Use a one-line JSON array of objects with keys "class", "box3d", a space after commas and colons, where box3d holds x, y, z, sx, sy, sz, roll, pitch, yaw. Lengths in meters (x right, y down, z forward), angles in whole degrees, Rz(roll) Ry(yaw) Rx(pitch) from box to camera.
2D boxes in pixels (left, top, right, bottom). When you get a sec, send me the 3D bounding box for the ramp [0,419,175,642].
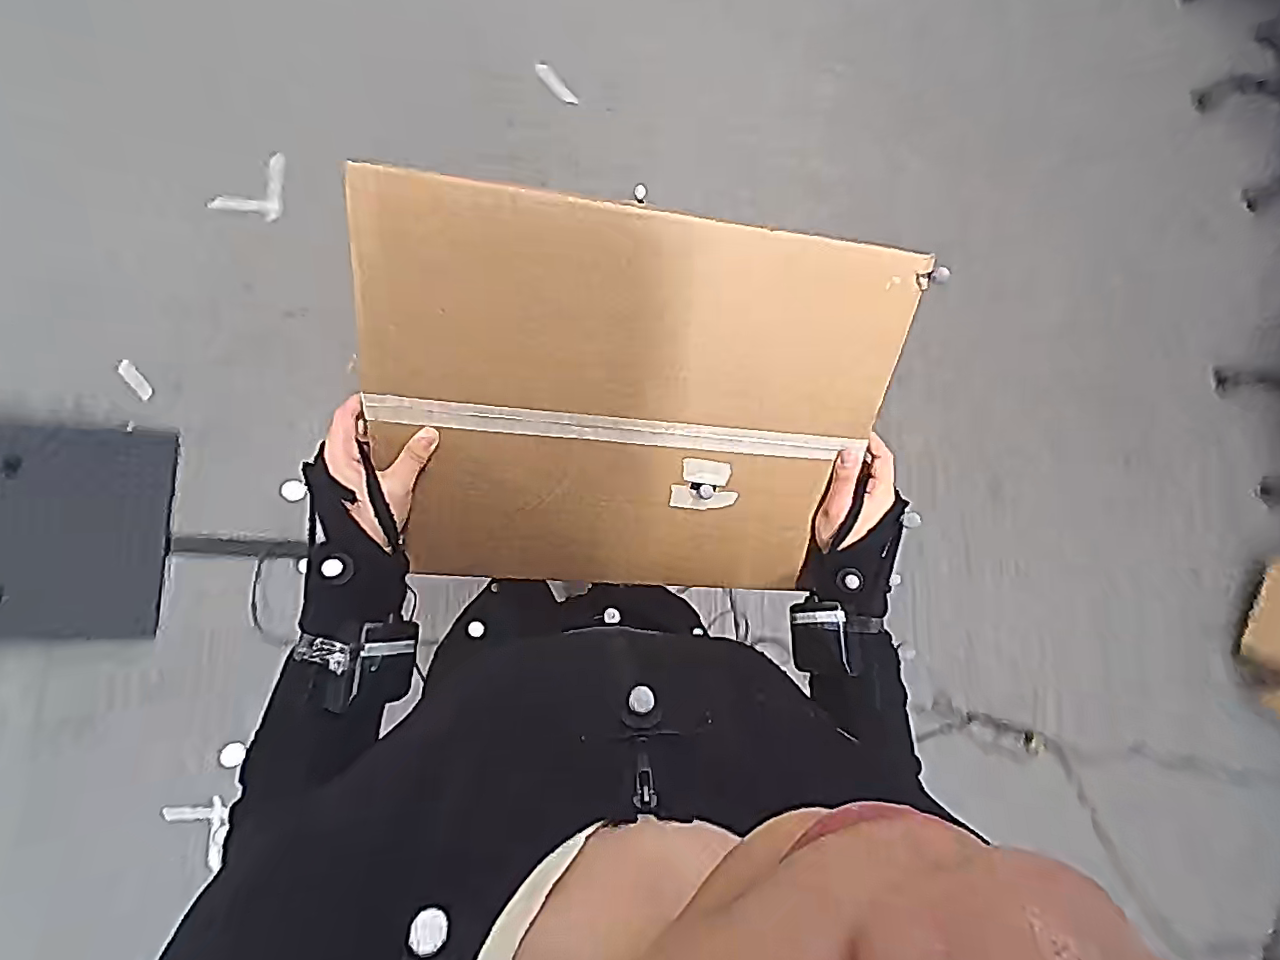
[{"class": "ramp", "box3d": [-1.597, 0.094, 1.126, 0.991, 0.206, 0.509, 1, 84, -8]}]
